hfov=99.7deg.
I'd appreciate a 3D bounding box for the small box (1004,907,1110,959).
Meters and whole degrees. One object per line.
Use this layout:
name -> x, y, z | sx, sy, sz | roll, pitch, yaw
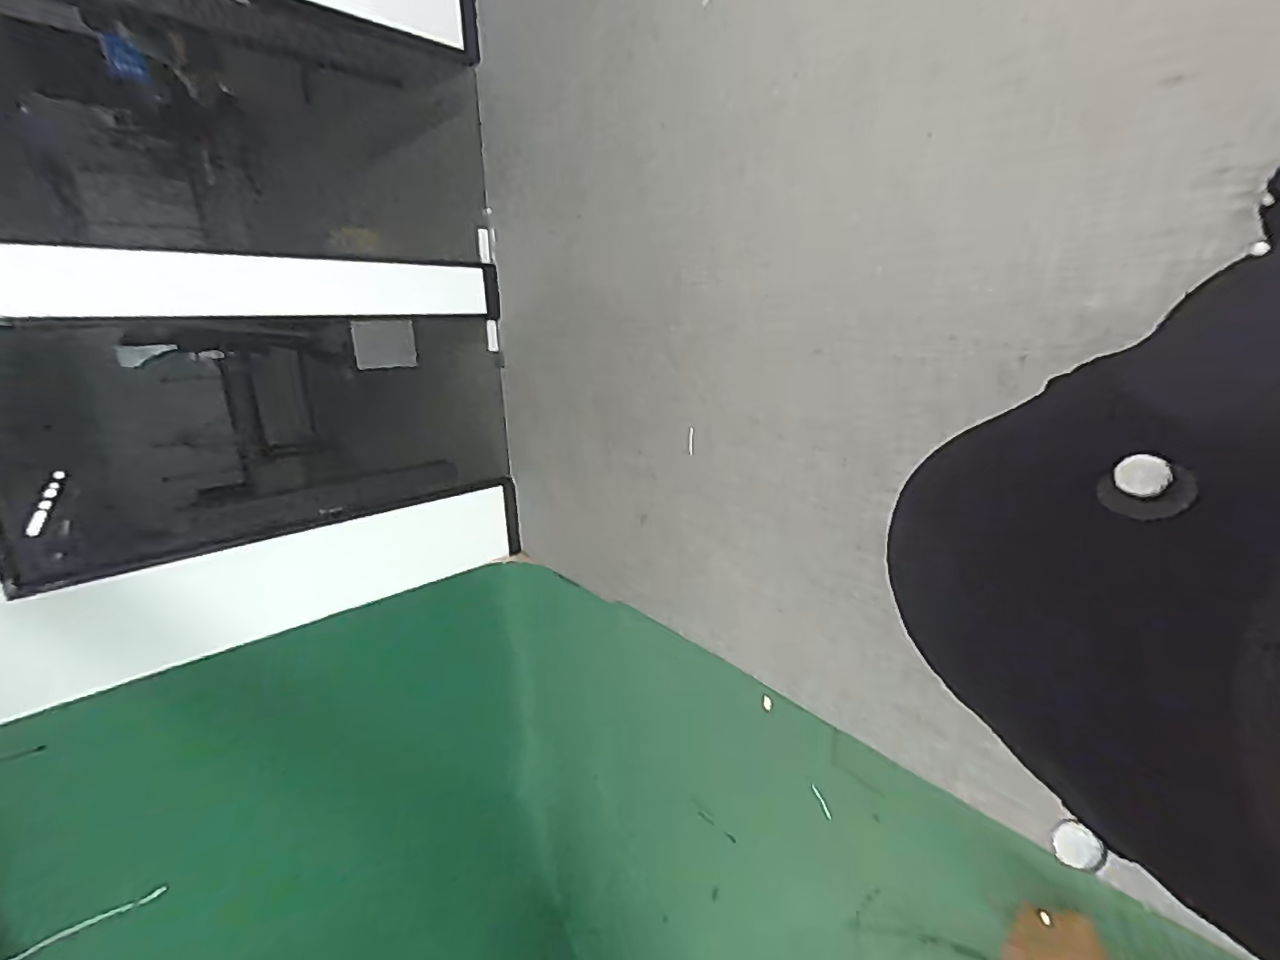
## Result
small box -> 1.069, 1.233, 1.357 | 0.168, 0.176, 0.179 | -39, 71, 48
